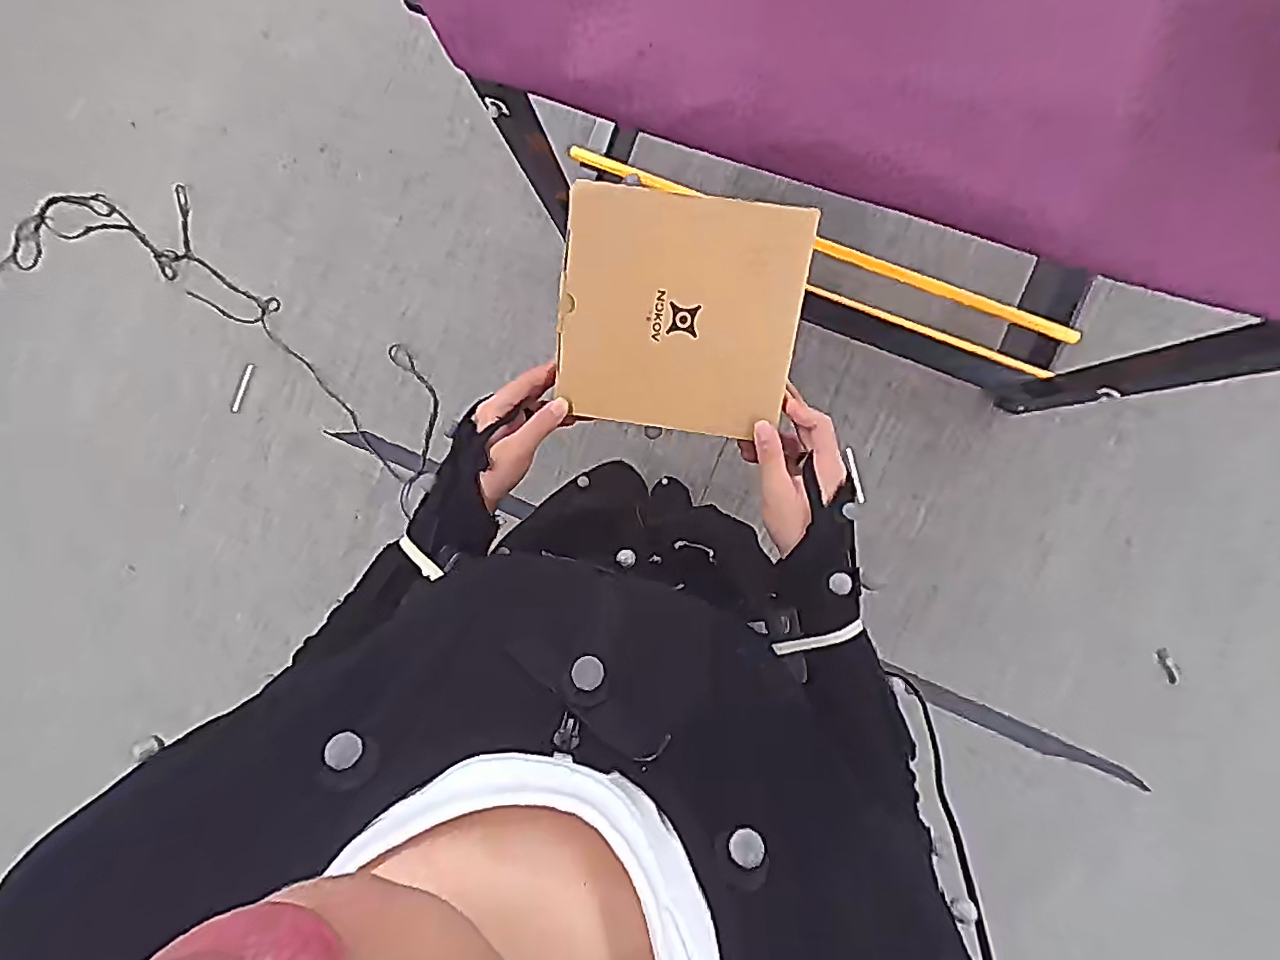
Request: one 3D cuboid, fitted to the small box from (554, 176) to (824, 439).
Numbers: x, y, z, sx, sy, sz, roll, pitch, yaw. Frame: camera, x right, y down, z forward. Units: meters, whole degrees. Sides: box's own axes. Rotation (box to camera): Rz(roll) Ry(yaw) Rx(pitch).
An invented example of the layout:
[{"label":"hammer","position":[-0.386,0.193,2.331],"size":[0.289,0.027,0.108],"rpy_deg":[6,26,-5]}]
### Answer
[{"label":"small box","position":[0.036,-0.142,0.467],"size":[0.179,0.176,0.168],"rpy_deg":[8,106,4]}]
